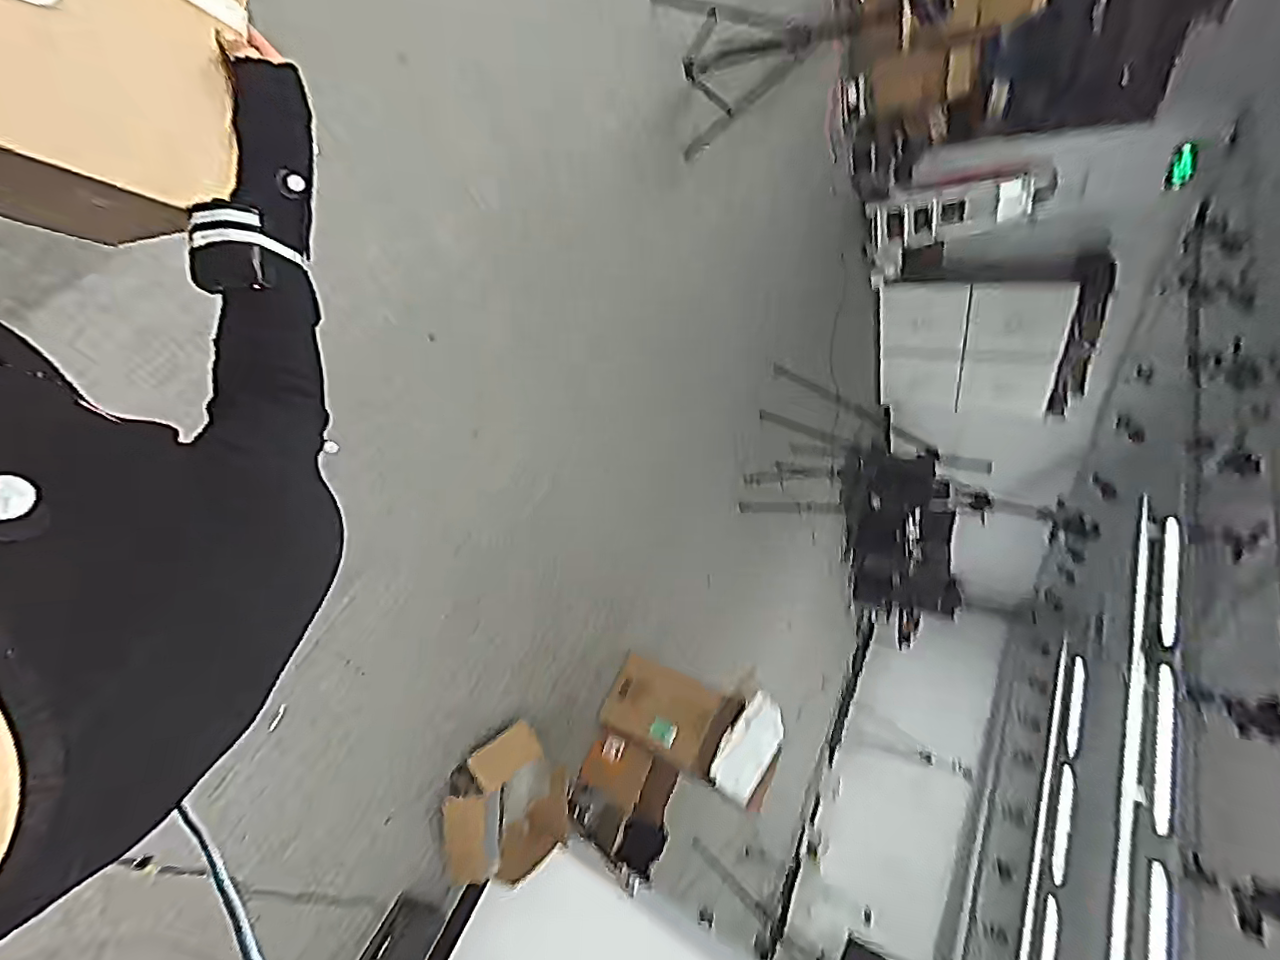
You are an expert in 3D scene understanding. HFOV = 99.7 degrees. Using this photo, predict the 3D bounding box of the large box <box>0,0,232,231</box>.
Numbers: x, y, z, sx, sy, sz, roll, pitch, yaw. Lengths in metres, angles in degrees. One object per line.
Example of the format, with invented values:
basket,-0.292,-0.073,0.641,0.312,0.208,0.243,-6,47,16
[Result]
large box,-0.564,-0.399,0.351,0.408,0.320,0.320,-2,101,-58
